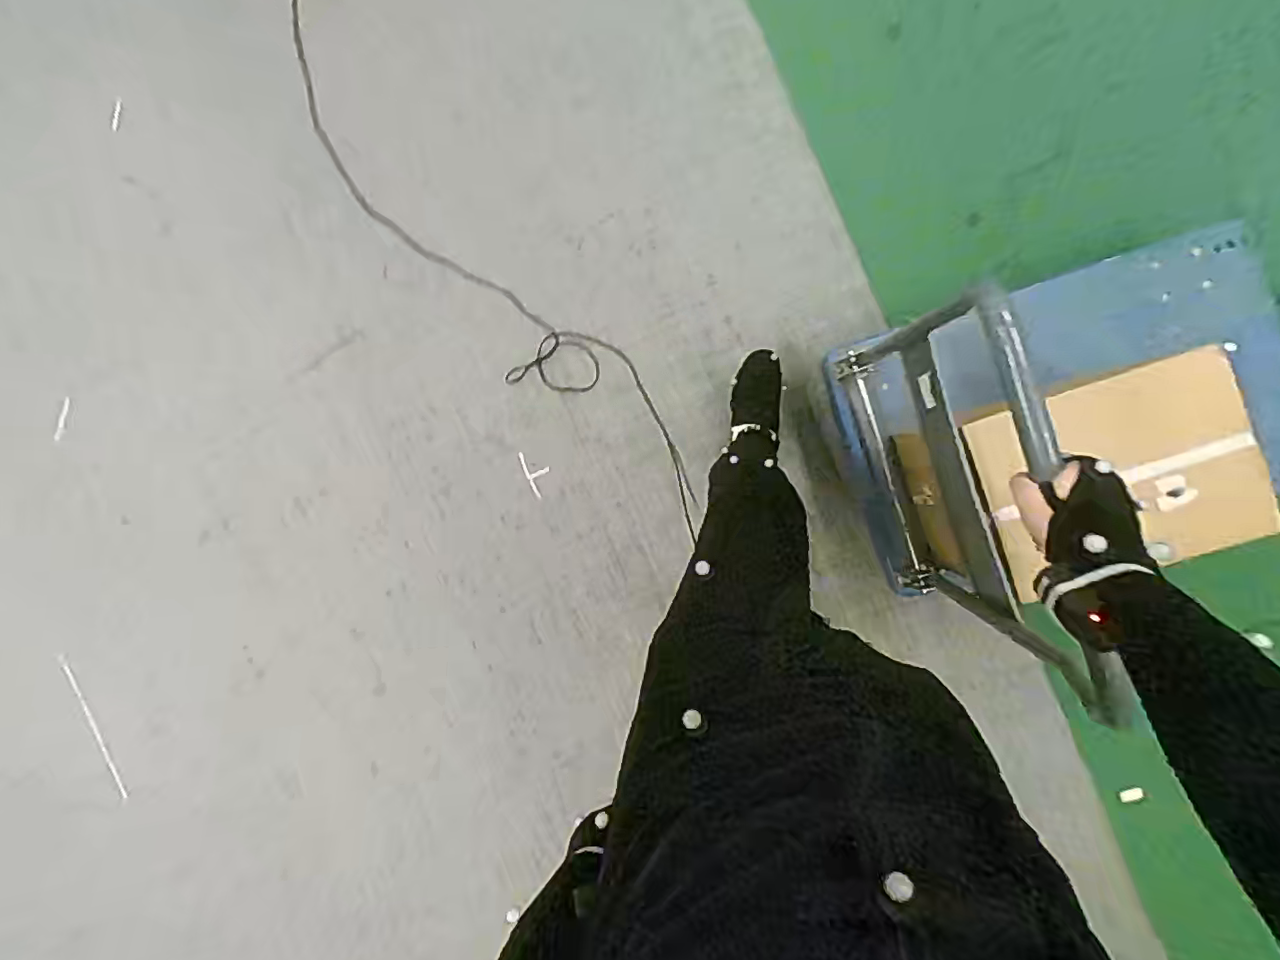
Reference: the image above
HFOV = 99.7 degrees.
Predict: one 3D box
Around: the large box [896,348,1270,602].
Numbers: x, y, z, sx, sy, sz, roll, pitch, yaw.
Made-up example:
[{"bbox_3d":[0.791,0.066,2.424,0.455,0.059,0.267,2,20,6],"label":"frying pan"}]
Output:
[{"bbox_3d":[0.779,-0.006,1.024,0.408,0.320,0.320,-18,91,6],"label":"large box"}]
